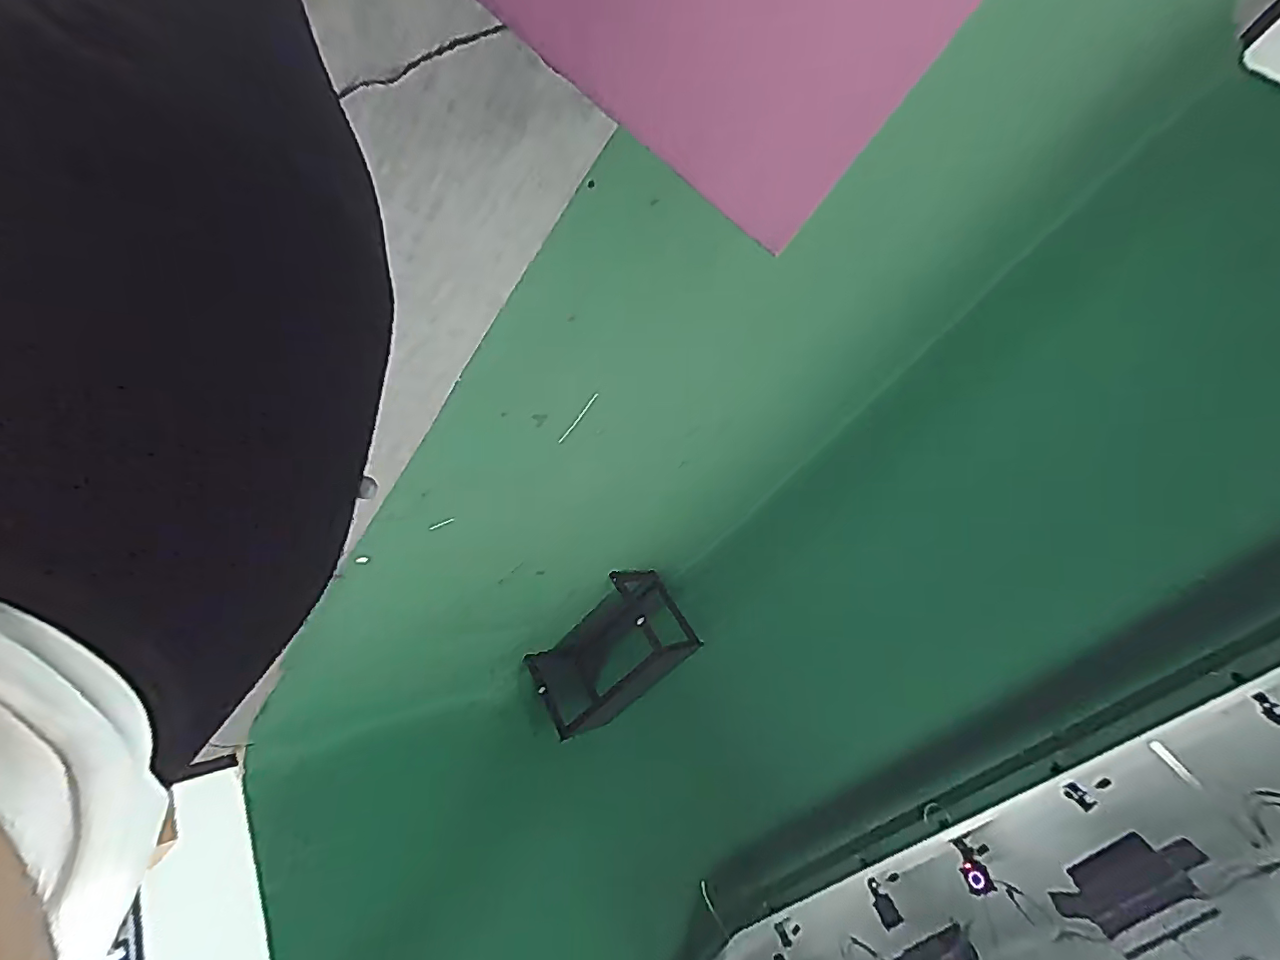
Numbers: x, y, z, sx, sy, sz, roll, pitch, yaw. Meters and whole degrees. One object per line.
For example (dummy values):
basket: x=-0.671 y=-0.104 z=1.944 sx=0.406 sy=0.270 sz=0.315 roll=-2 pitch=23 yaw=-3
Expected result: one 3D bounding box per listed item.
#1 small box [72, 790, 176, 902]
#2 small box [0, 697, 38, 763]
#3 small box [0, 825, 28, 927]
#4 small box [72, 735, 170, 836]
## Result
small box: x=-1.392 y=0.977 z=1.458 sx=0.179 sy=0.176 sz=0.168 roll=-46 pitch=151 yaw=19
small box: x=-1.693 y=0.689 z=1.391 sx=0.179 sy=0.176 sz=0.168 roll=-46 pitch=150 yaw=18
small box: x=-1.536 y=0.929 z=1.230 sx=0.179 sy=0.176 sz=0.168 roll=-45 pitch=151 yaw=18
small box: x=-1.474 y=0.860 z=1.535 sx=0.179 sy=0.176 sz=0.168 roll=-46 pitch=151 yaw=20
